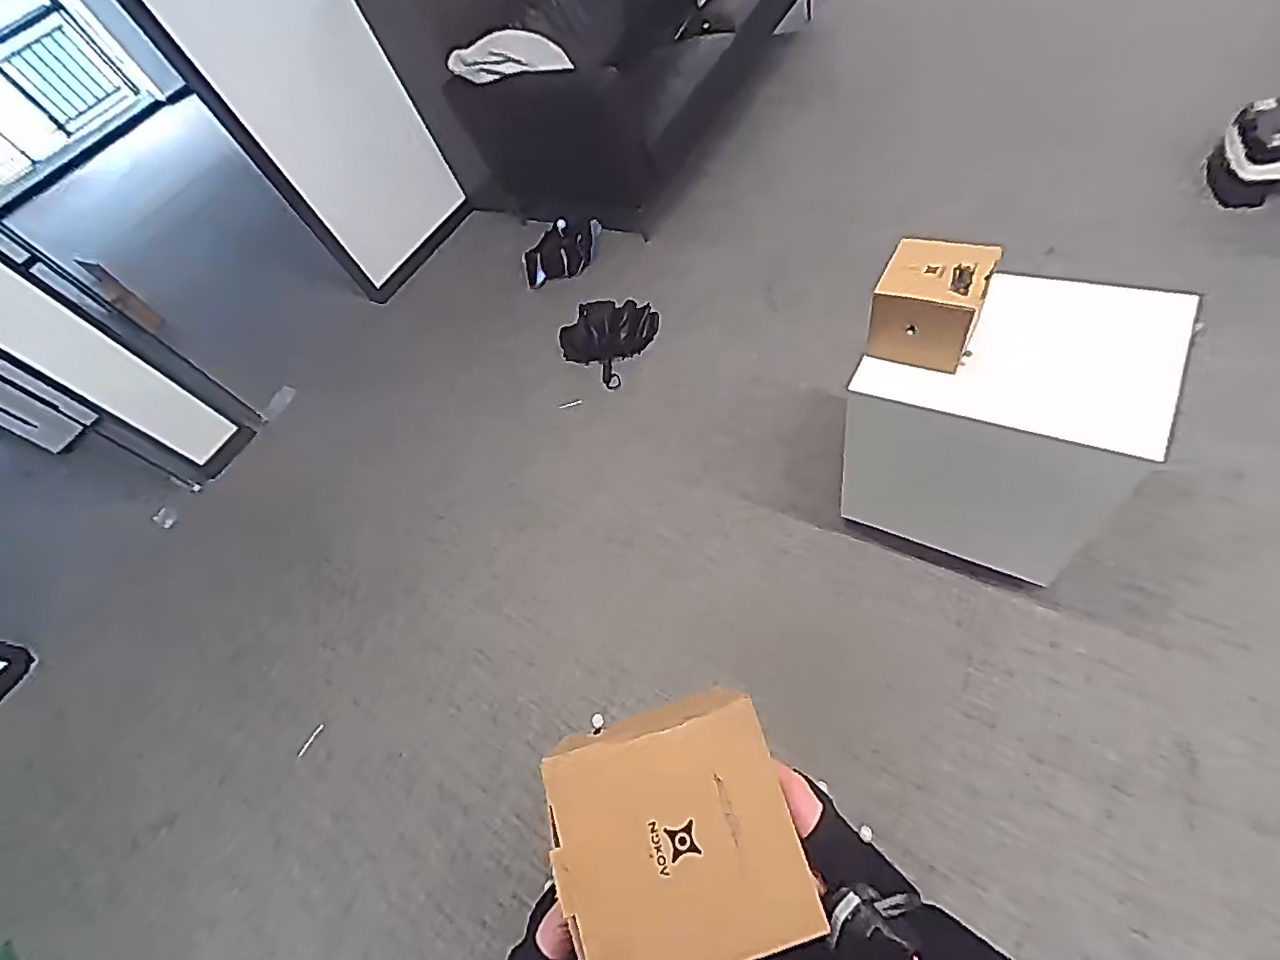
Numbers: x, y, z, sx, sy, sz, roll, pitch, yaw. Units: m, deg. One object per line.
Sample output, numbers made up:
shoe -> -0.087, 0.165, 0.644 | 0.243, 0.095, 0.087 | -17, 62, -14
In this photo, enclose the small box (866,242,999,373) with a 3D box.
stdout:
small box -> 0.563, -0.334, 1.060 | 0.179, 0.176, 0.168 | 21, 66, 29
